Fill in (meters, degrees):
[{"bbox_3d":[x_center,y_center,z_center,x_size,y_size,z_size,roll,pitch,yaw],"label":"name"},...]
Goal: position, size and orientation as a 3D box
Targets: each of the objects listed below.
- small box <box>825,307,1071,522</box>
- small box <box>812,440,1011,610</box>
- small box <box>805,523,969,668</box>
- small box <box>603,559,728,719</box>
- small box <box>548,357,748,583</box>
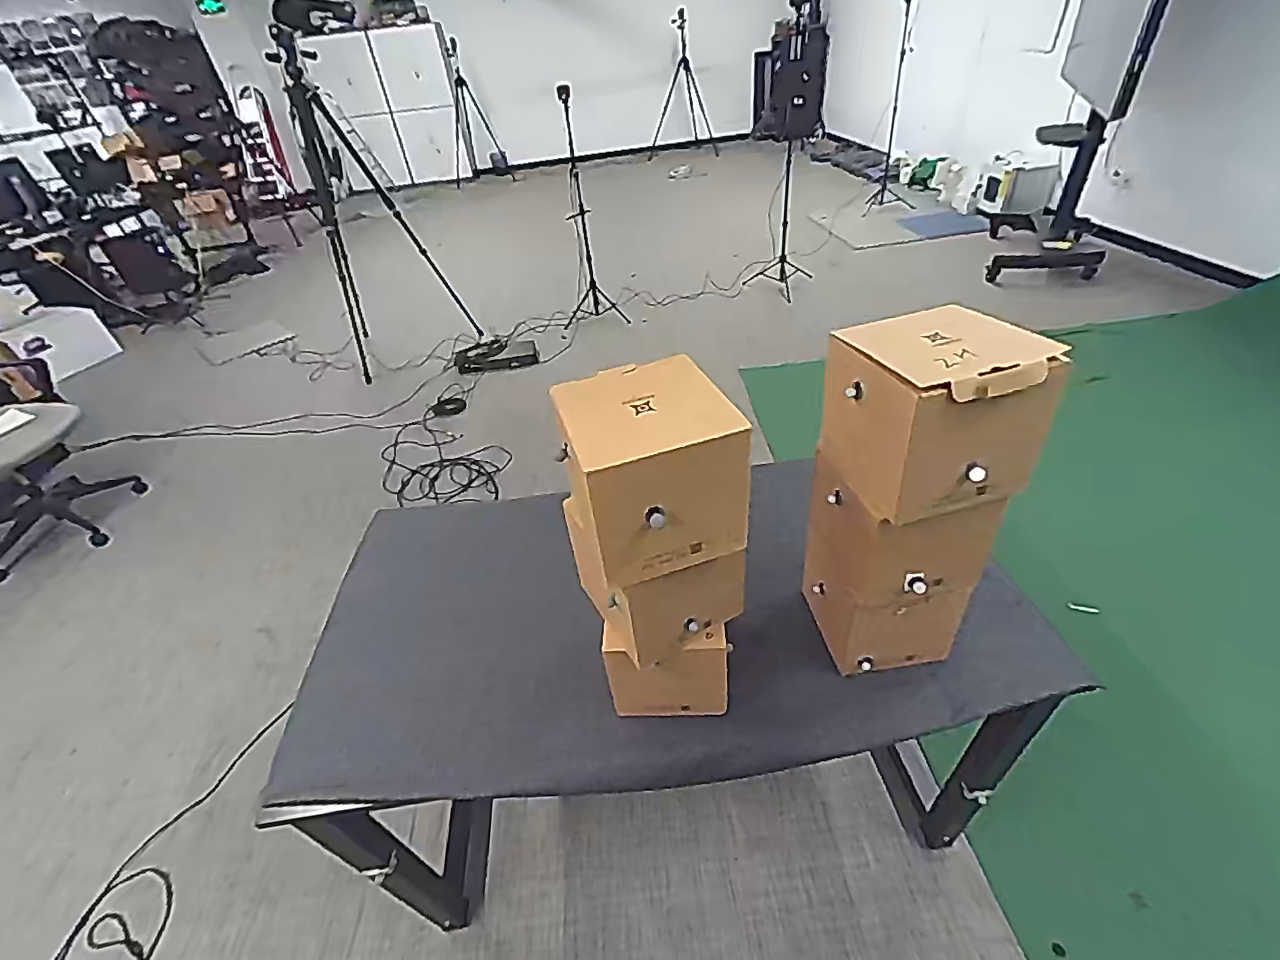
[{"bbox_3d":[0.331,-0.079,0.628,0.168,0.176,0.179,-14,37,-5],"label":"small box"},{"bbox_3d":[0.347,0.047,0.735,0.168,0.176,0.179,-12,38,-3],"label":"small box"},{"bbox_3d":[0.365,0.172,0.837,0.168,0.176,0.179,-9,36,-1],"label":"small box"},{"bbox_3d":[0.042,0.234,0.815,0.168,0.176,0.179,-3,38,6],"label":"small box"},{"bbox_3d":[0.009,-0.009,0.598,0.168,0.176,0.179,-16,39,-11],"label":"small box"}]
